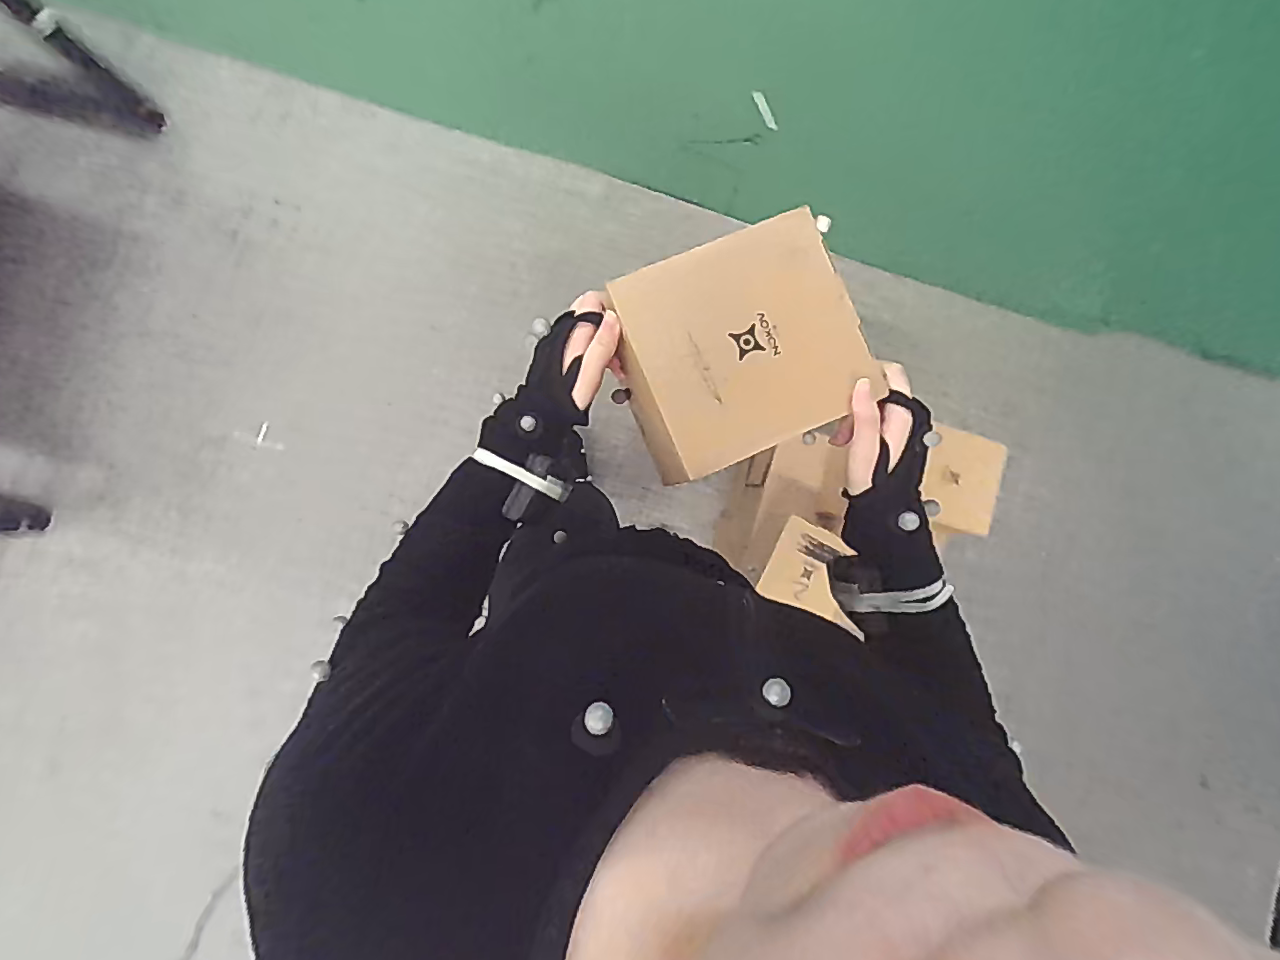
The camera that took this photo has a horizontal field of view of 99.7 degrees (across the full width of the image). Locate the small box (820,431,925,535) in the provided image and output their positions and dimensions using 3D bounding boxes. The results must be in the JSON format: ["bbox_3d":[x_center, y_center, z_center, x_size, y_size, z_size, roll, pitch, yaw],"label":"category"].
[{"bbox_3d":[0.508,0.008,1.161,0.168,0.176,0.179,16,87,-5],"label":"small box"}]

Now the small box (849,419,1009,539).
[{"bbox_3d":[0.523,0.000,0.999,0.179,0.176,0.168,18,86,-4],"label":"small box"}]
